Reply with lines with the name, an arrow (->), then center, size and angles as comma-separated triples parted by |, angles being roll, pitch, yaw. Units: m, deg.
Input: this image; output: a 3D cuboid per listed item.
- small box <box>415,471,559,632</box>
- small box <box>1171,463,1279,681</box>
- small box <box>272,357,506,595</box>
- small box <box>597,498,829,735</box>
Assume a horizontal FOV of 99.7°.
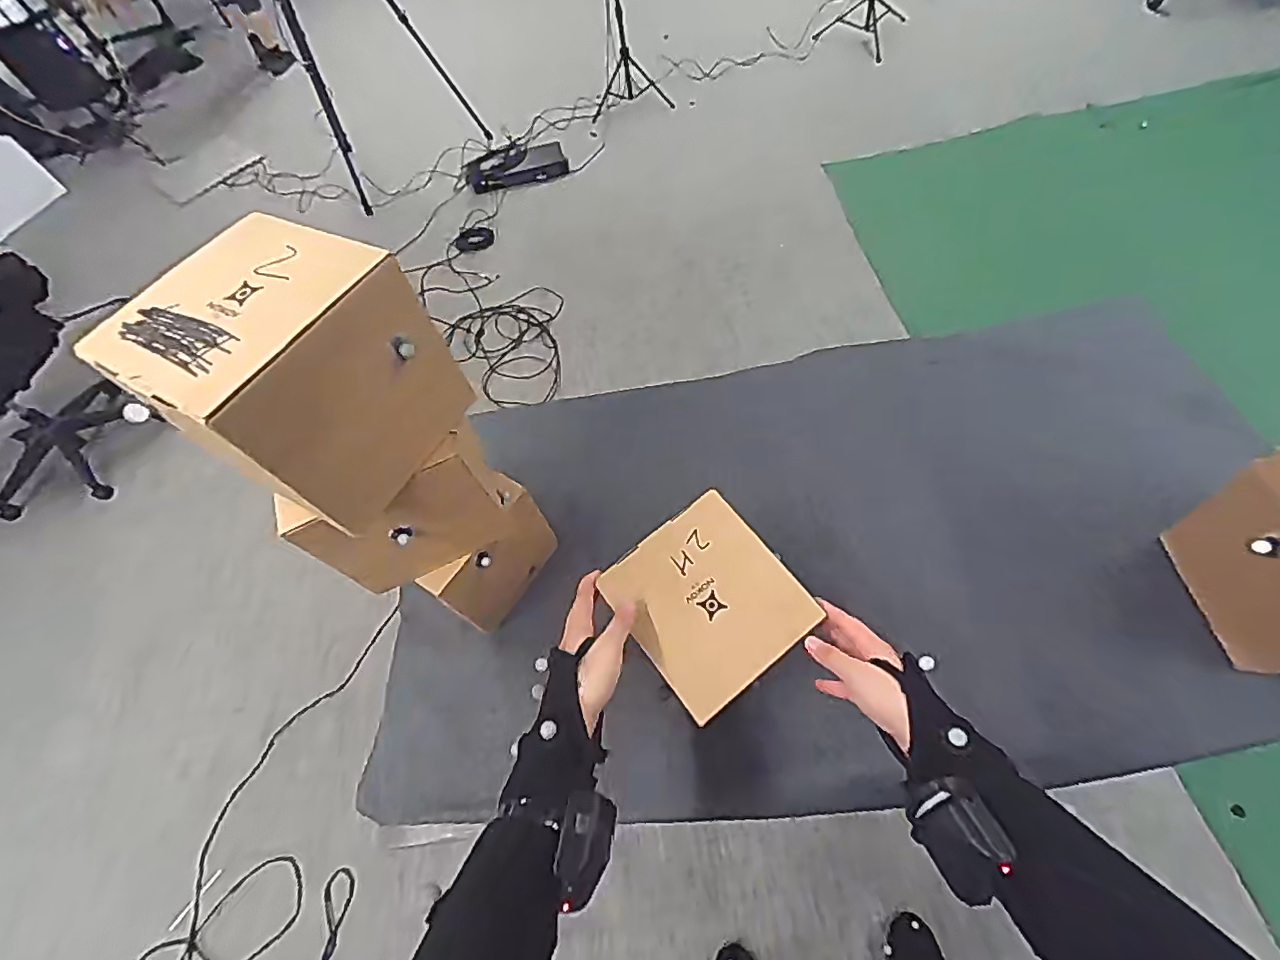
small box -> -0.242, 0.084, 0.748 | 0.179, 0.176, 0.168 | 26, 66, 23
small box -> 0.720, 0.096, 0.556 | 0.168, 0.176, 0.179 | -4, 55, 10
small box -> -0.267, 0.002, 0.607 | 0.179, 0.176, 0.168 | -26, 58, -6
small box -> 0.076, 0.154, 0.614 | 0.168, 0.176, 0.179 | -38, 72, -10
